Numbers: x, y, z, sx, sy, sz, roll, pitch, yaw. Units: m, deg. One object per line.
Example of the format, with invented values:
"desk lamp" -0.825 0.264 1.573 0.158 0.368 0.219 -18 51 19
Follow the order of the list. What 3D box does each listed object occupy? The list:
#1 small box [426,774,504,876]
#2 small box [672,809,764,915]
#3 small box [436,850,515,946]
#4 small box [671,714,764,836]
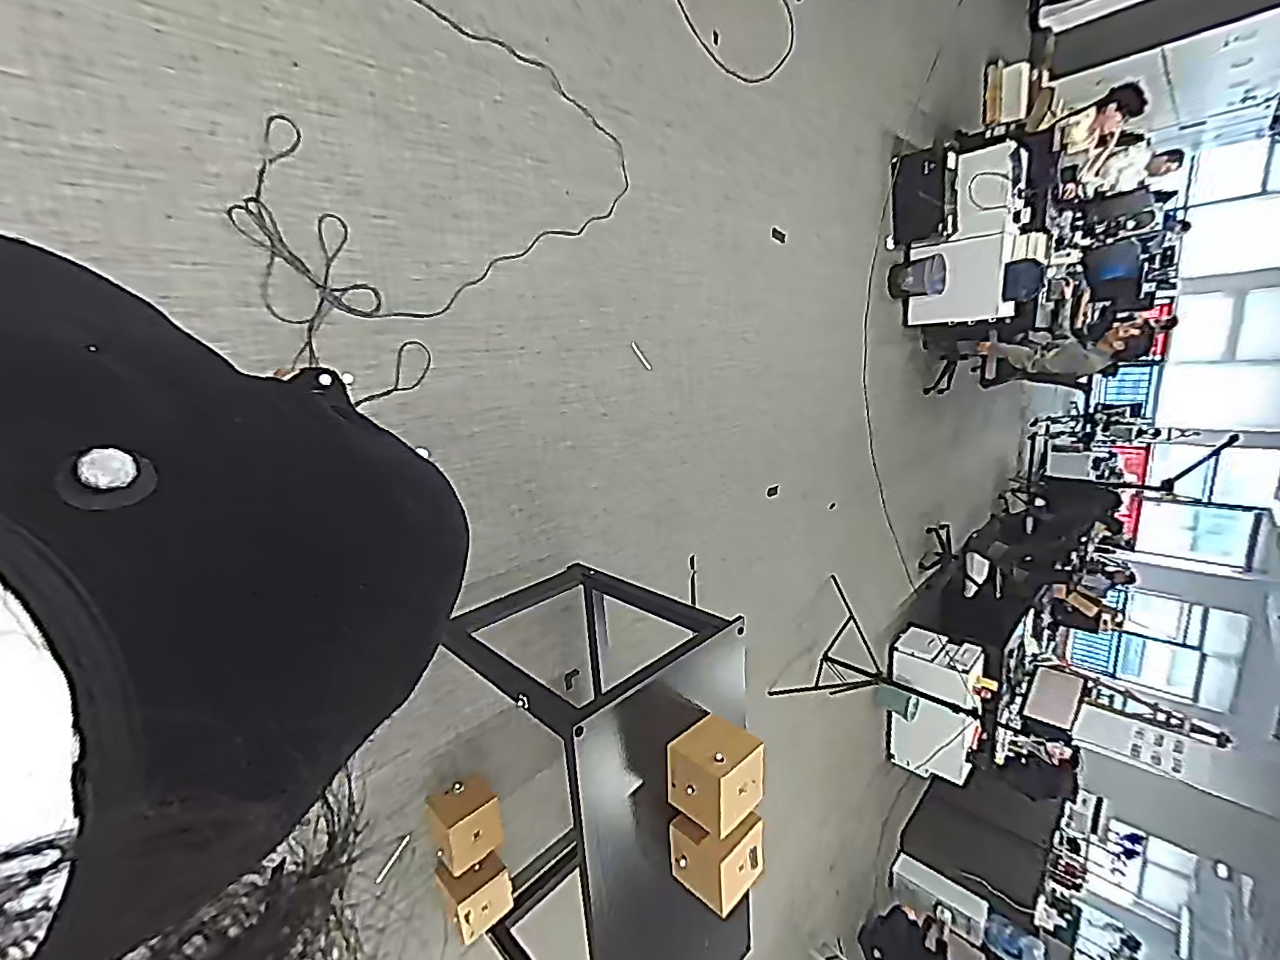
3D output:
"small box" -0.551 1.074 1.699 0.168 0.176 0.179 -18 108 -43
"small box" 0.201 0.938 1.389 0.179 0.176 0.168 -17 108 -41
"small box" -0.534 1.330 1.755 0.179 0.176 0.168 -18 108 -42
"small box" 0.189 0.720 1.340 0.179 0.176 0.168 -13 106 -43
